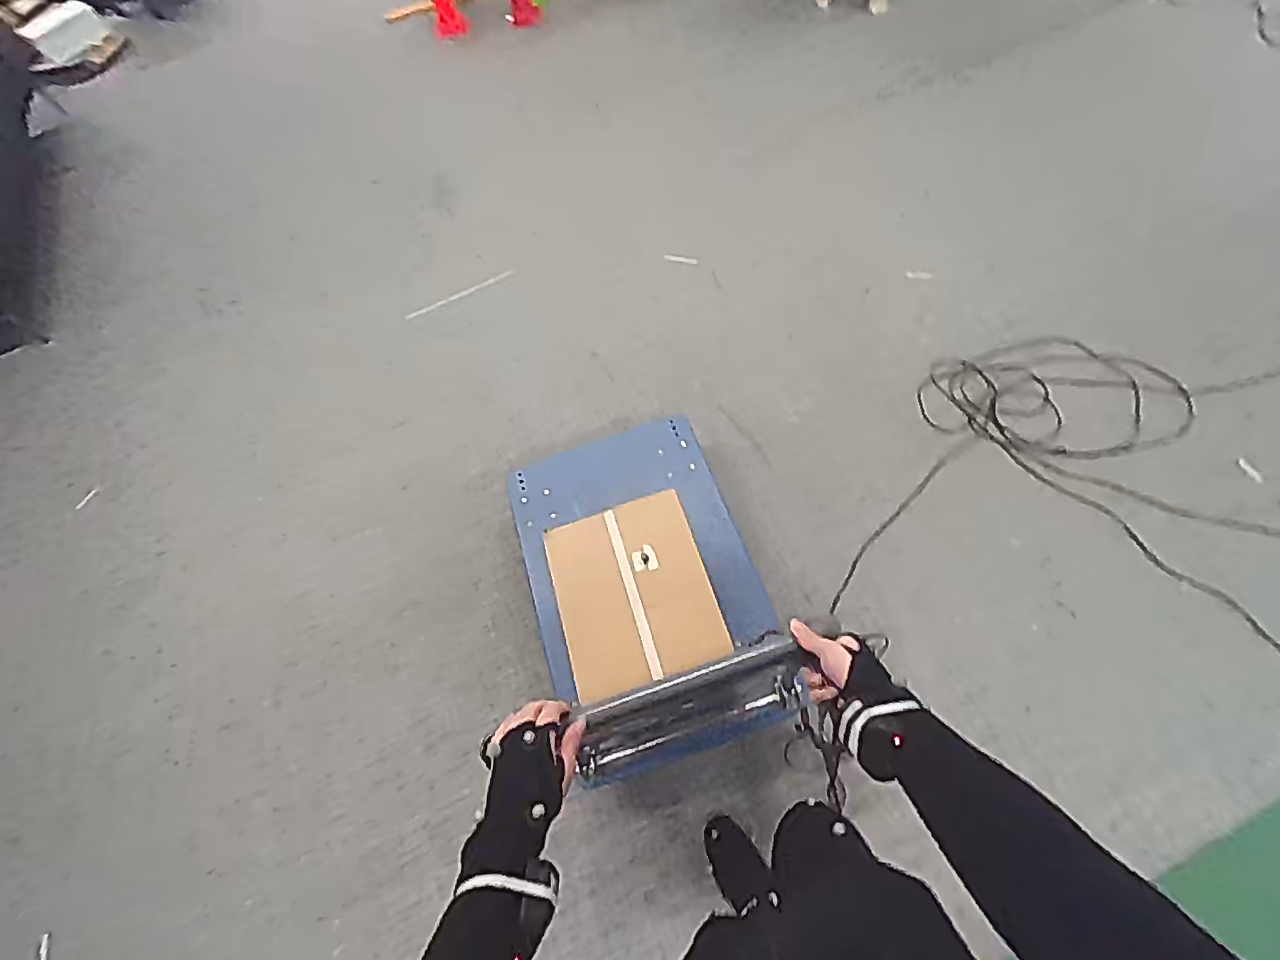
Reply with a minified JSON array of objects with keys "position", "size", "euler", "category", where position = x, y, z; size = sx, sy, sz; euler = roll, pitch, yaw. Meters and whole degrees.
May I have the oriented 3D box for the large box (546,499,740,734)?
[{"position":[0.013,0.321,1.242],"size":[0.320,0.320,0.408],"euler":[-18,61,-1],"category":"large box"}]
